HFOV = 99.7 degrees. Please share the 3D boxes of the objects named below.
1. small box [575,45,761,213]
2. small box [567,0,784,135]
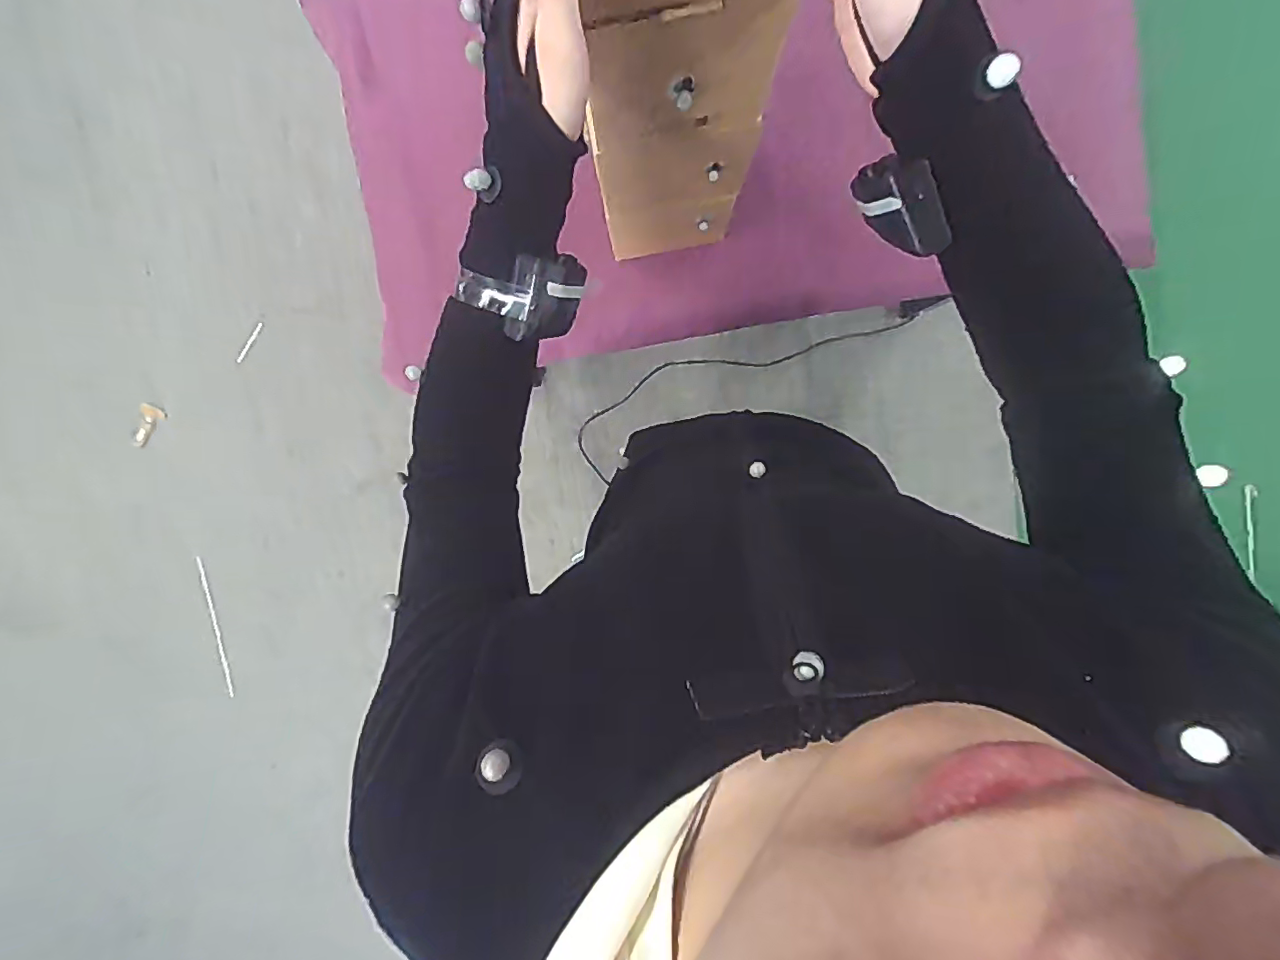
[{"bbox_3d":[0.027,-0.432,0.617,0.179,0.176,0.168,-9,94,3],"label":"small box"},{"bbox_3d":[0.020,-0.424,0.454,0.168,0.176,0.179,-11,95,2],"label":"small box"}]
